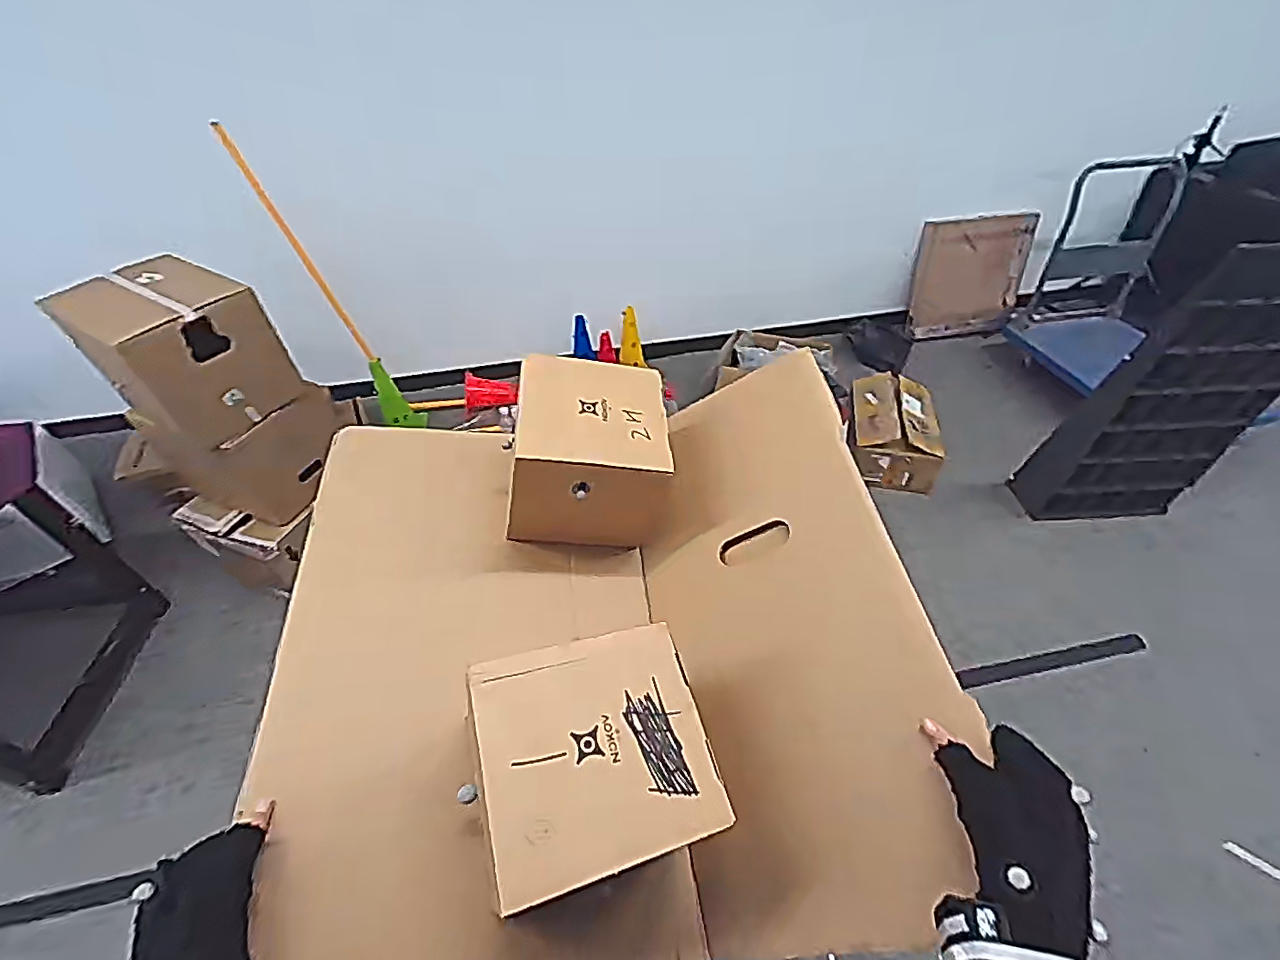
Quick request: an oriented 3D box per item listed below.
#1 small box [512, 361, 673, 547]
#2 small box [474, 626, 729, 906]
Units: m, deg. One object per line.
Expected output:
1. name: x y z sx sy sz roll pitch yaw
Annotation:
1. small box: -0.068 -0.026 0.697 0.179 0.176 0.168 7 53 -13
2. small box: -0.051 0.253 0.489 0.179 0.176 0.168 -7 56 -21
